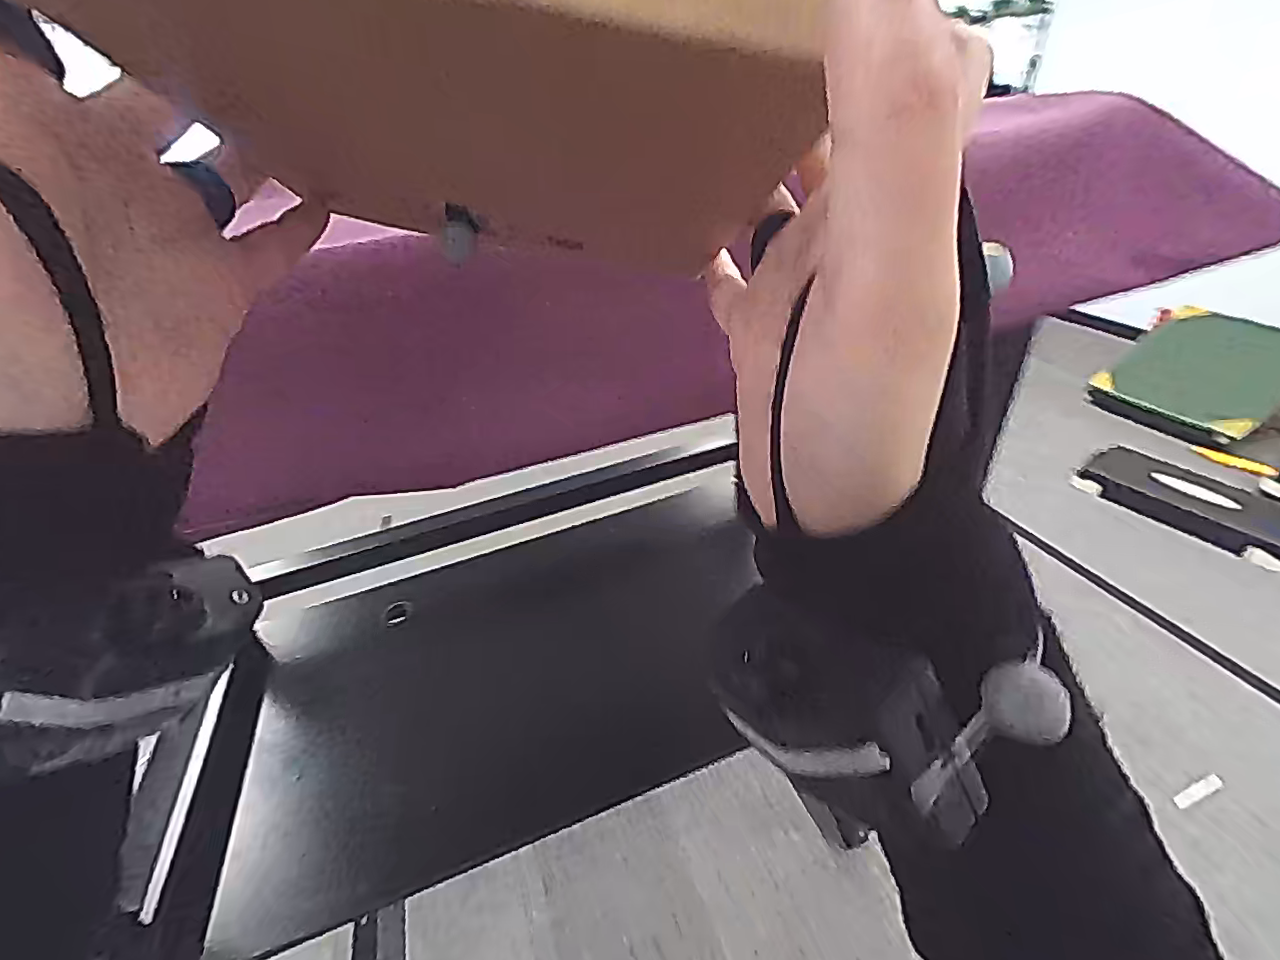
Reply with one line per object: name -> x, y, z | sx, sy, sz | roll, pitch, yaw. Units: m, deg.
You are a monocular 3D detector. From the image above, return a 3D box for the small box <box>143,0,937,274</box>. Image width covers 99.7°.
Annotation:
small box -> -0.026, -0.176, 0.150 | 0.168, 0.179, 0.176 | 8, 9, -6
